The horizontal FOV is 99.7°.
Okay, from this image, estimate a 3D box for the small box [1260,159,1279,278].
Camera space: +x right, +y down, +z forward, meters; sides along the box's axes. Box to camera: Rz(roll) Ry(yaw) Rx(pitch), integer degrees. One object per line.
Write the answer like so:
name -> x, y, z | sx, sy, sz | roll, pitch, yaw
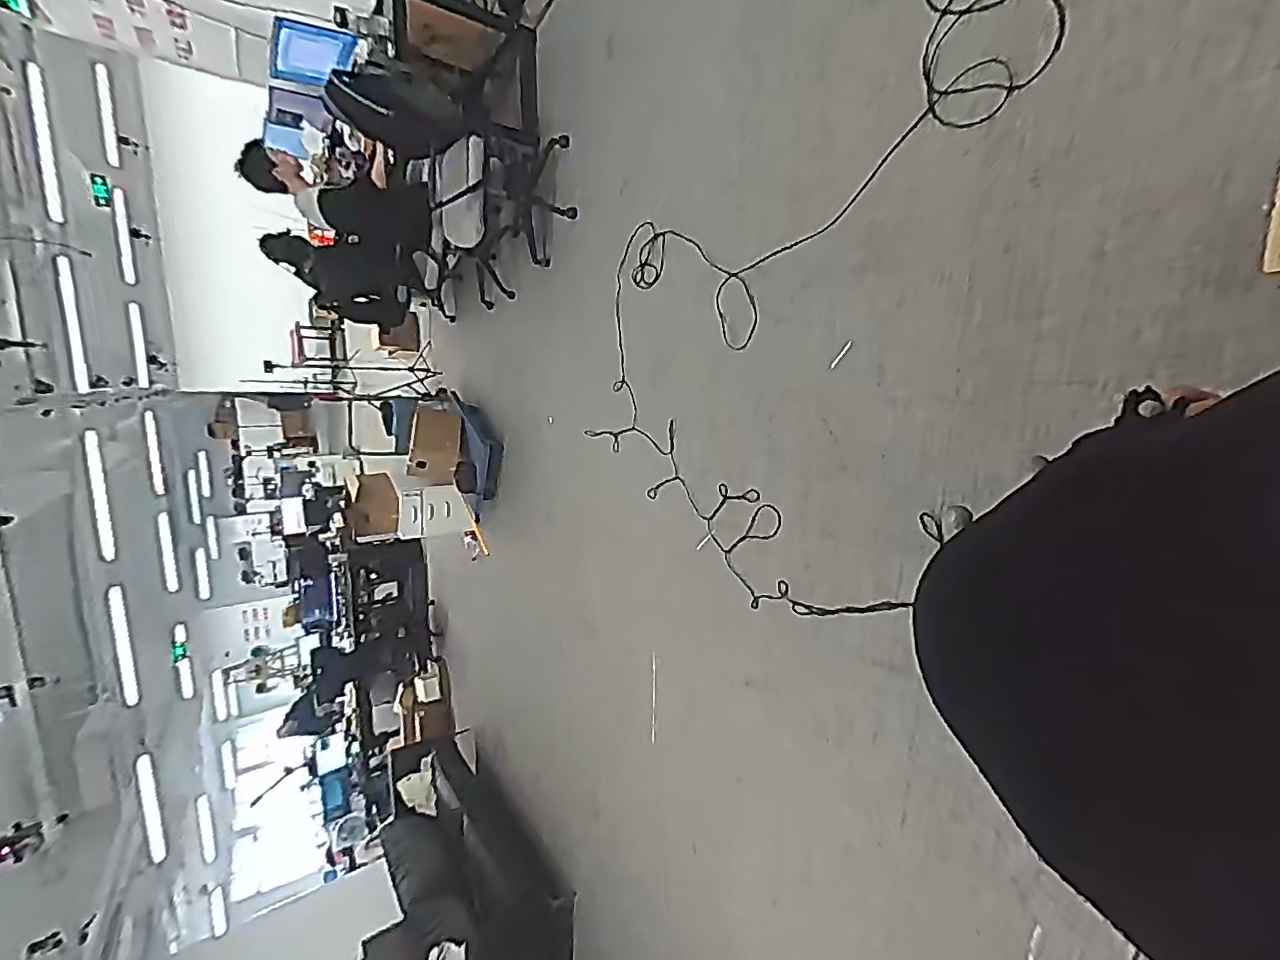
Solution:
small box -> 1.054, -0.397, 0.783 | 0.179, 0.176, 0.168 | 12, 106, 53
